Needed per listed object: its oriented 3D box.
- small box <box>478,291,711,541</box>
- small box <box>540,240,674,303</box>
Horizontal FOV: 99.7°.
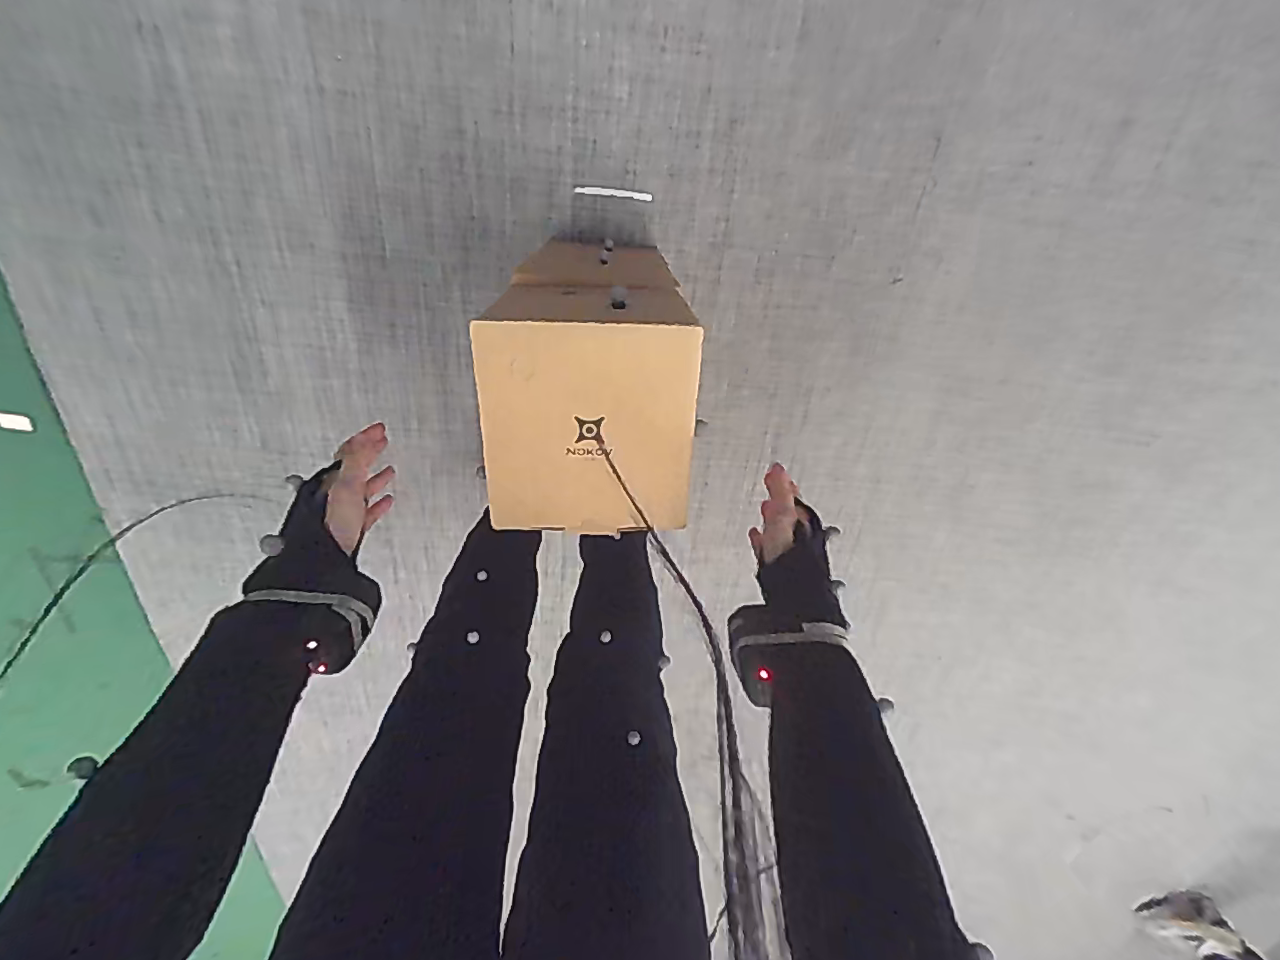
[{"bbox_3d":[-0.039,-0.064,0.482,0.168,0.176,0.179,1,120,-3],"label":"small box"},{"bbox_3d":[-0.052,-0.231,0.762,0.168,0.176,0.179,5,120,-5],"label":"small box"}]
